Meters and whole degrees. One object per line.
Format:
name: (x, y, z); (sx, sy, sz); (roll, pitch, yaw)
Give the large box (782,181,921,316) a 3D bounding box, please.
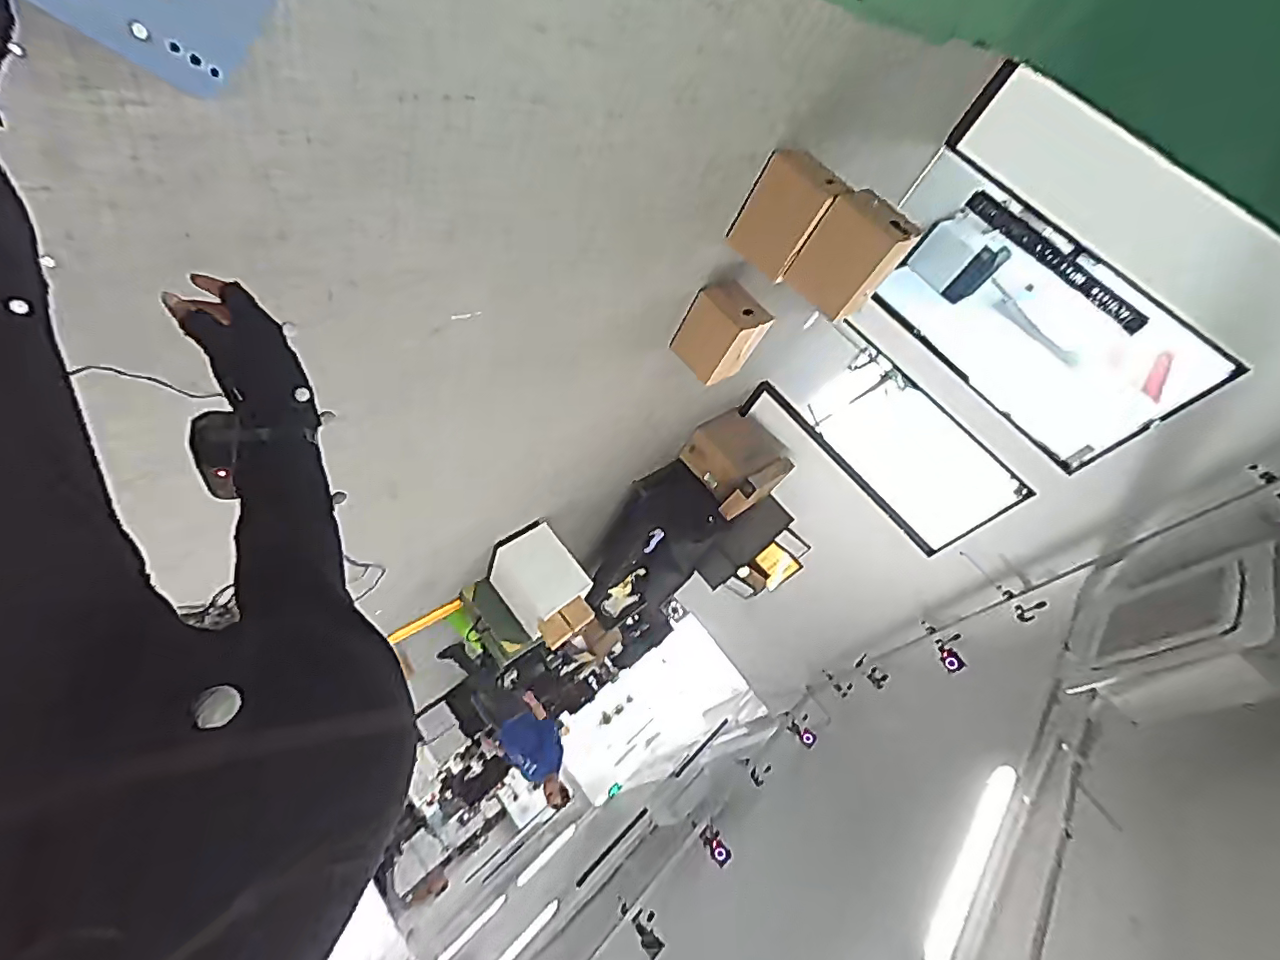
large box: (0.891, -0.986, 2.305); (0.320, 0.320, 0.408); (-33, 165, -39)
